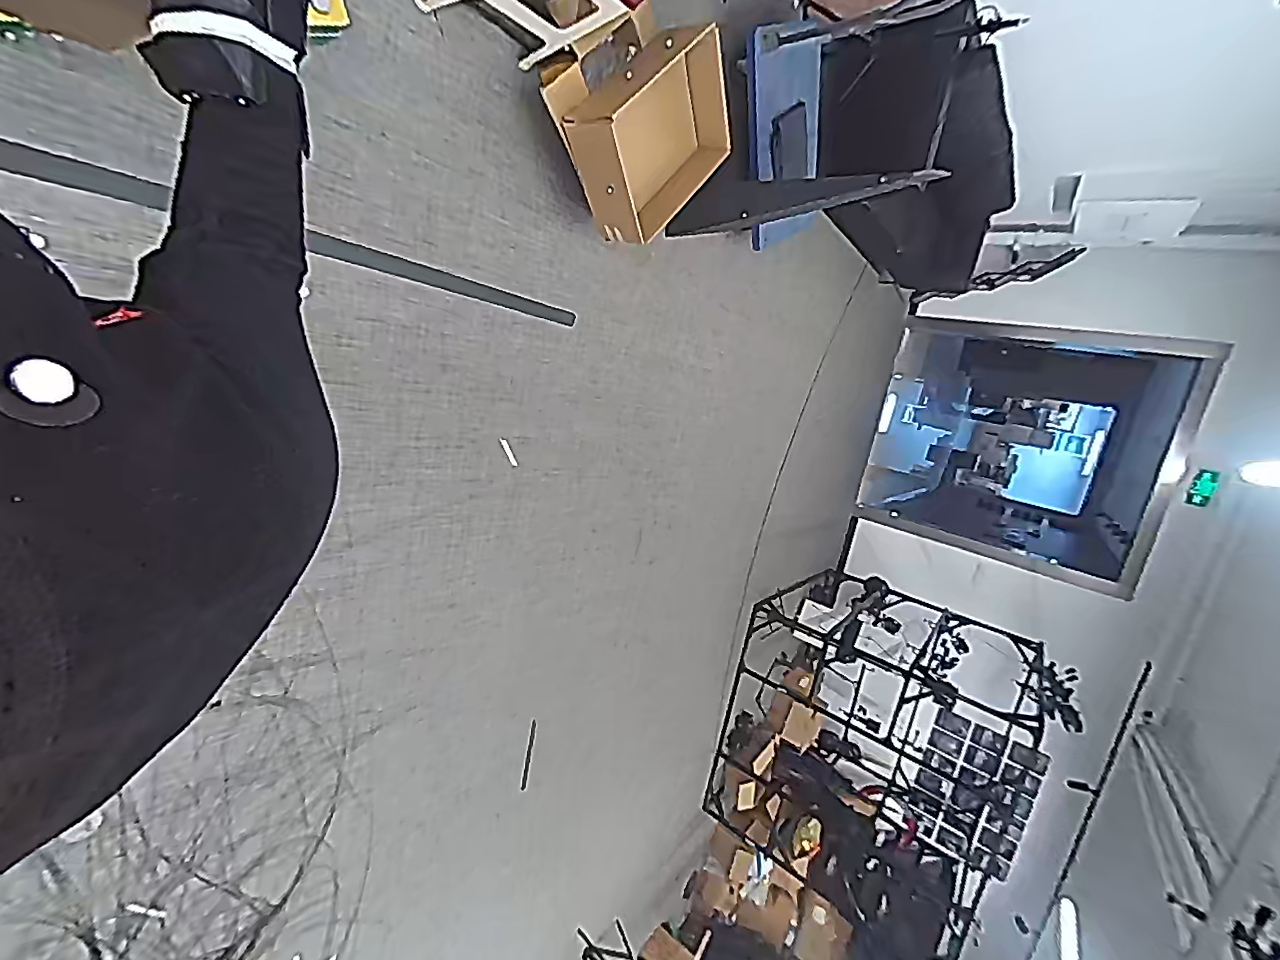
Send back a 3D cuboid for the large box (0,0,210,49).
[{"bbox_3d":[-0.498,-0.490,0.253,0.408,0.320,0.320,-8,118,-54],"label":"large box"}]
